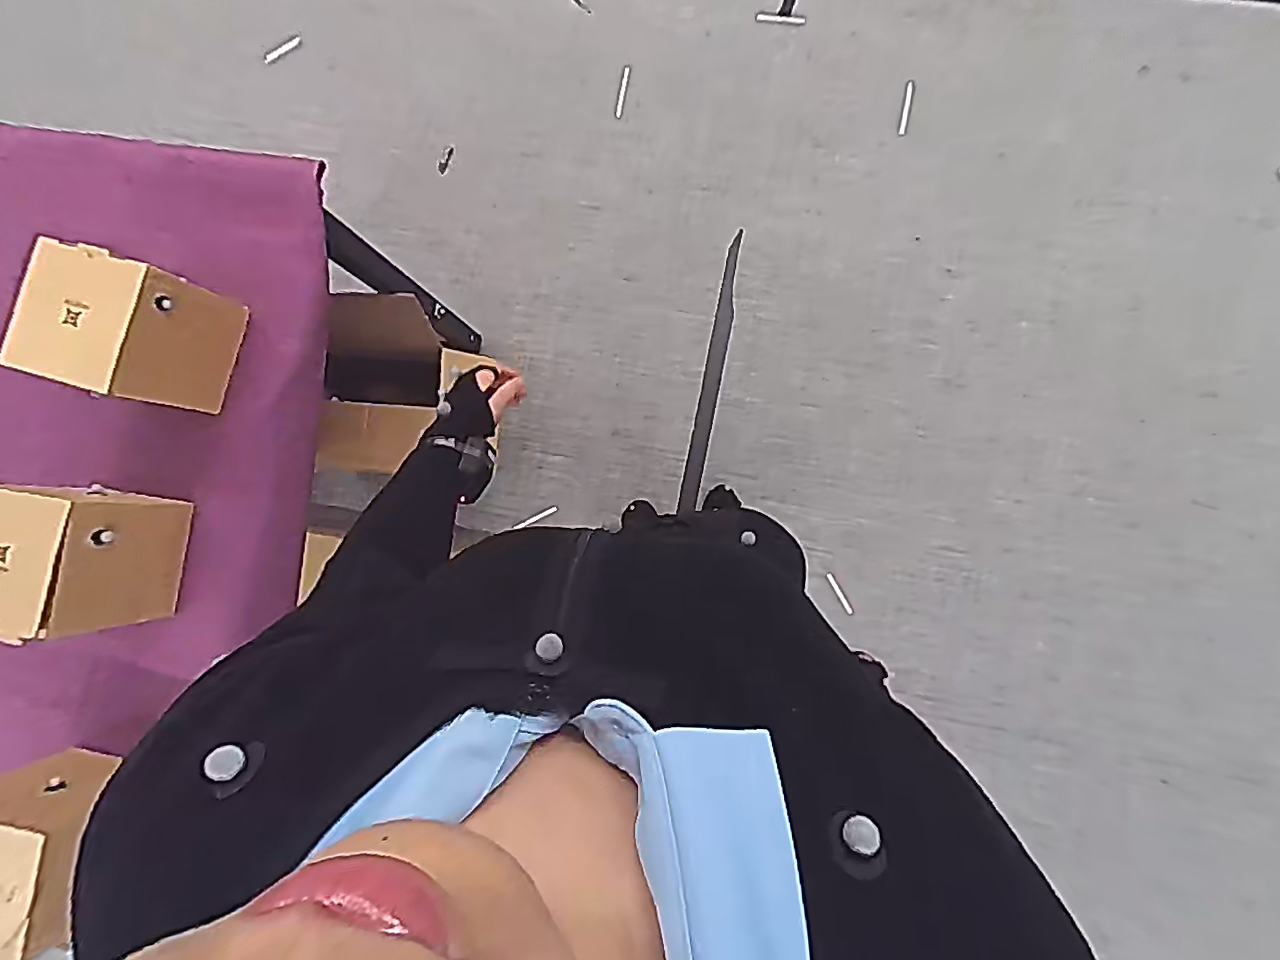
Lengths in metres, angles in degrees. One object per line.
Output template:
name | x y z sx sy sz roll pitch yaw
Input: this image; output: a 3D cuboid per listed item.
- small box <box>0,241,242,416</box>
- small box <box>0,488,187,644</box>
small box | -0.716 -0.201 0.766 0.168 0.176 0.179 15 88 6
small box | -0.786 0.110 0.751 0.168 0.176 0.179 8 87 8
